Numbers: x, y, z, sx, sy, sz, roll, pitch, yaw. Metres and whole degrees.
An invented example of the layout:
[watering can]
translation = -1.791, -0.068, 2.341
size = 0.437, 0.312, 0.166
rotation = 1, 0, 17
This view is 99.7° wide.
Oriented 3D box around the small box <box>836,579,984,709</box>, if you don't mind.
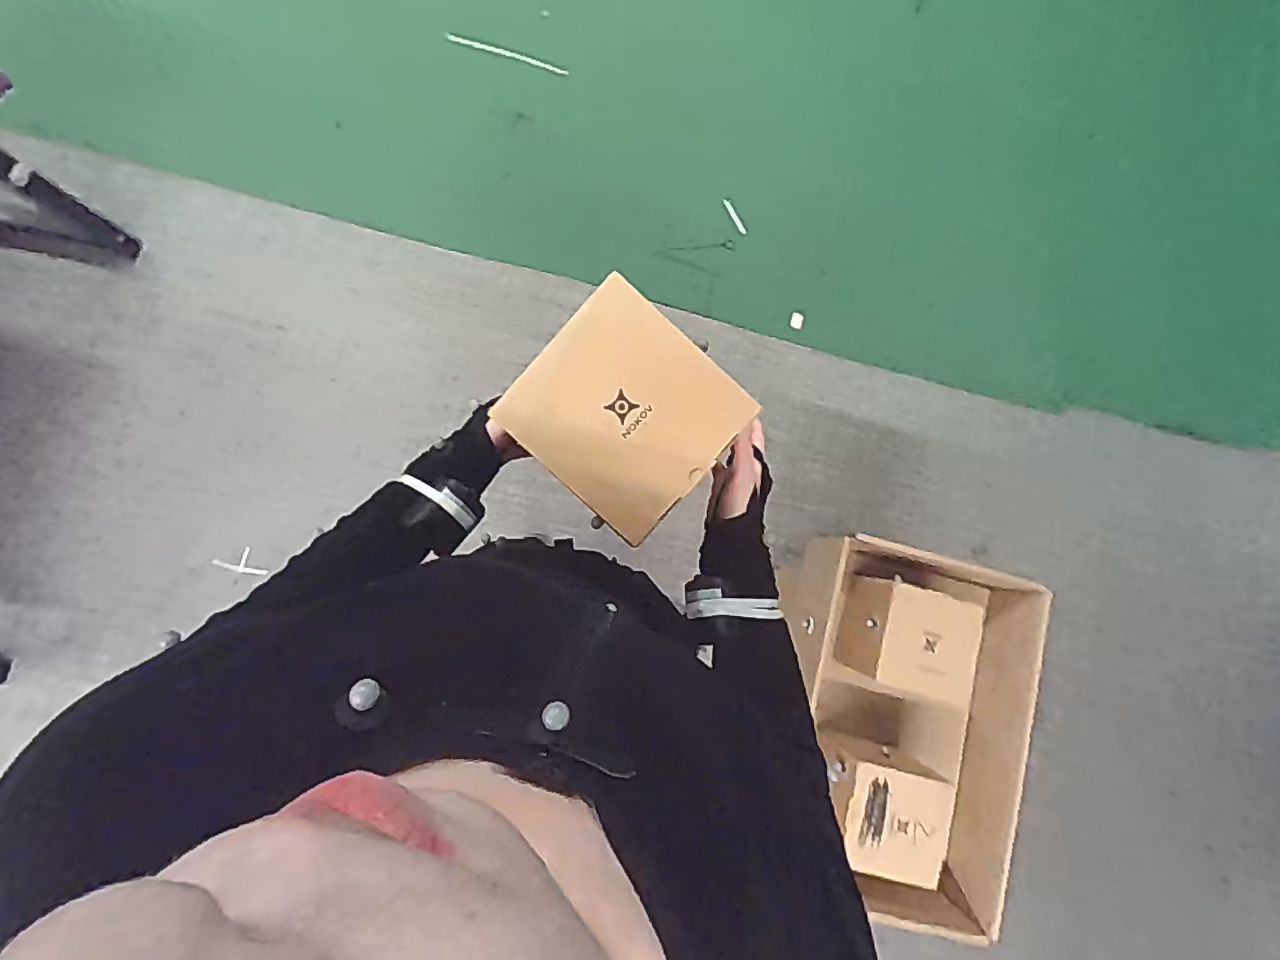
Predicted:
[small box]
translation = 0.485, 0.289, 0.996
size = 0.168, 0.176, 0.179
rotation = 17, 83, -3
